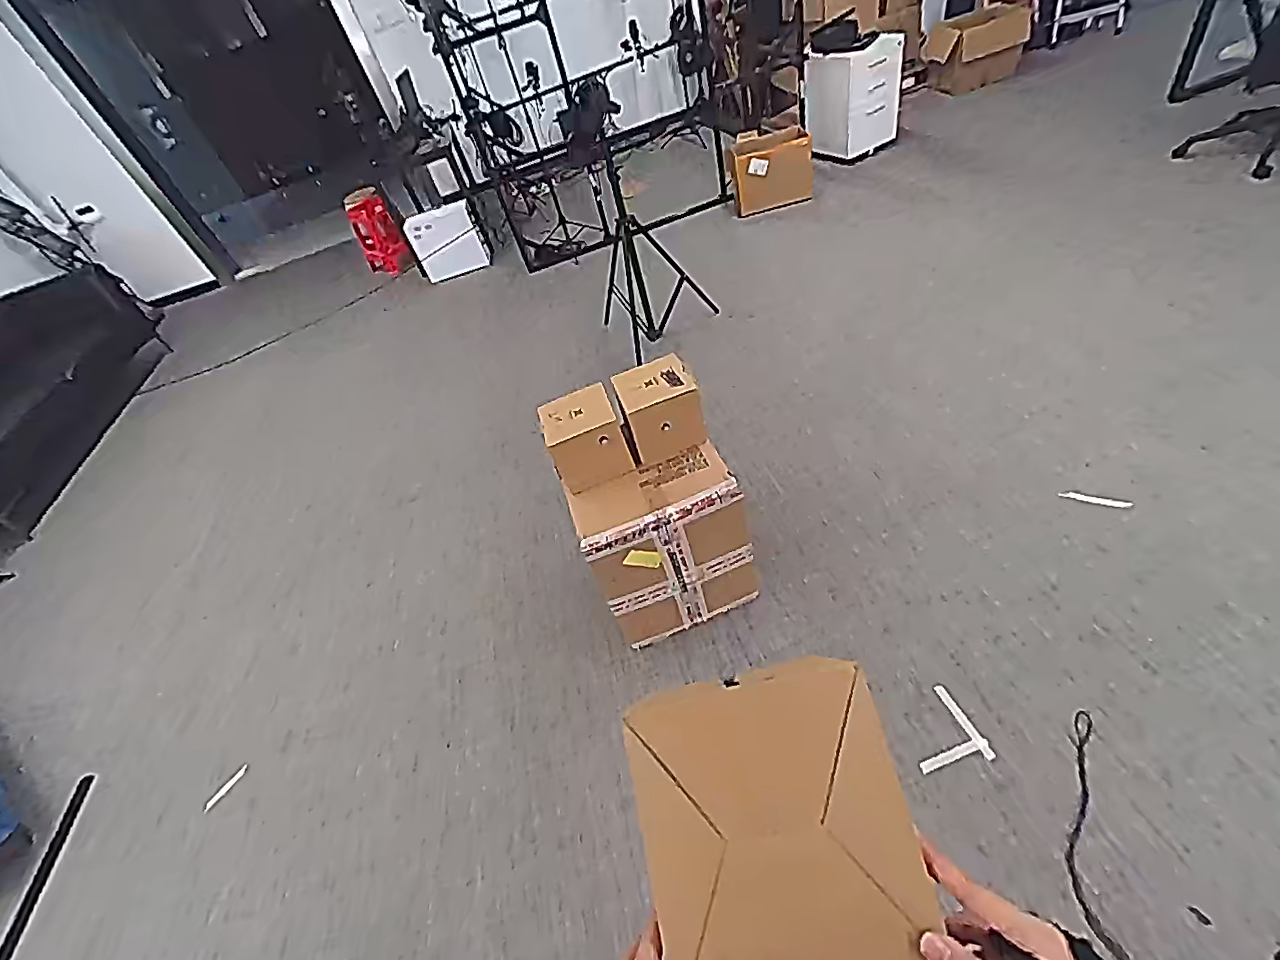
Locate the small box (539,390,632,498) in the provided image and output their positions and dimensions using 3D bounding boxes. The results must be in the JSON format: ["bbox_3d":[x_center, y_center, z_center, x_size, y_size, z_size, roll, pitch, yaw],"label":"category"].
[{"bbox_3d":[-0.130,-0.088,1.340,0.179,0.176,0.168,-23,44,0],"label":"small box"}]

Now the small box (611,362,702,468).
[{"bbox_3d":[0.046,-0.160,1.350,0.179,0.176,0.168,-21,45,-3],"label":"small box"}]
